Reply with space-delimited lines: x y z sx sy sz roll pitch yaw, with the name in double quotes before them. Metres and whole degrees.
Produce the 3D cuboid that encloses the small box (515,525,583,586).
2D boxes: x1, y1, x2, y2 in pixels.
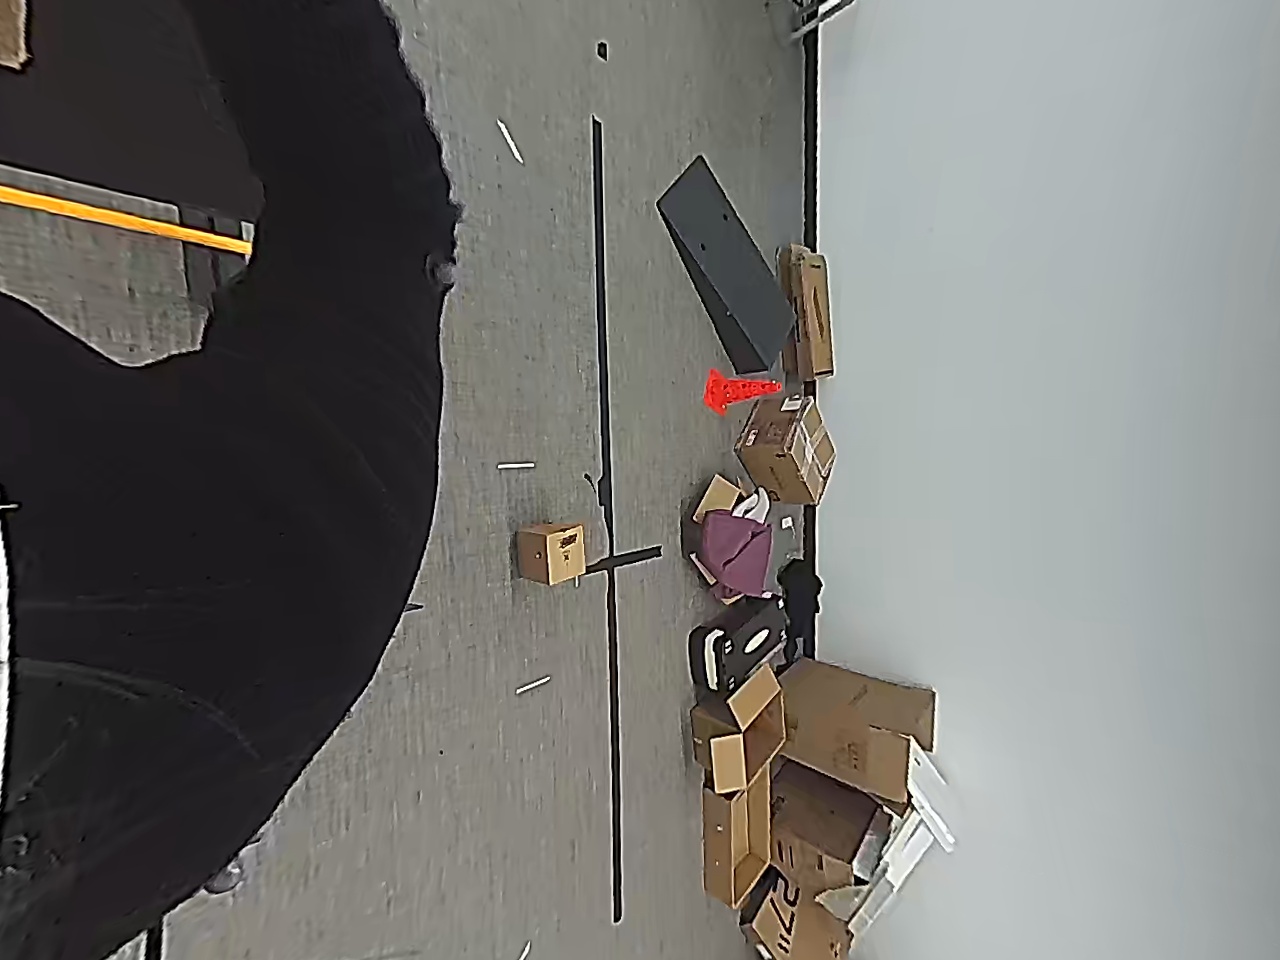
"small box" -0.320 0.255 1.885 0.168 0.176 0.179 -11 101 -49
